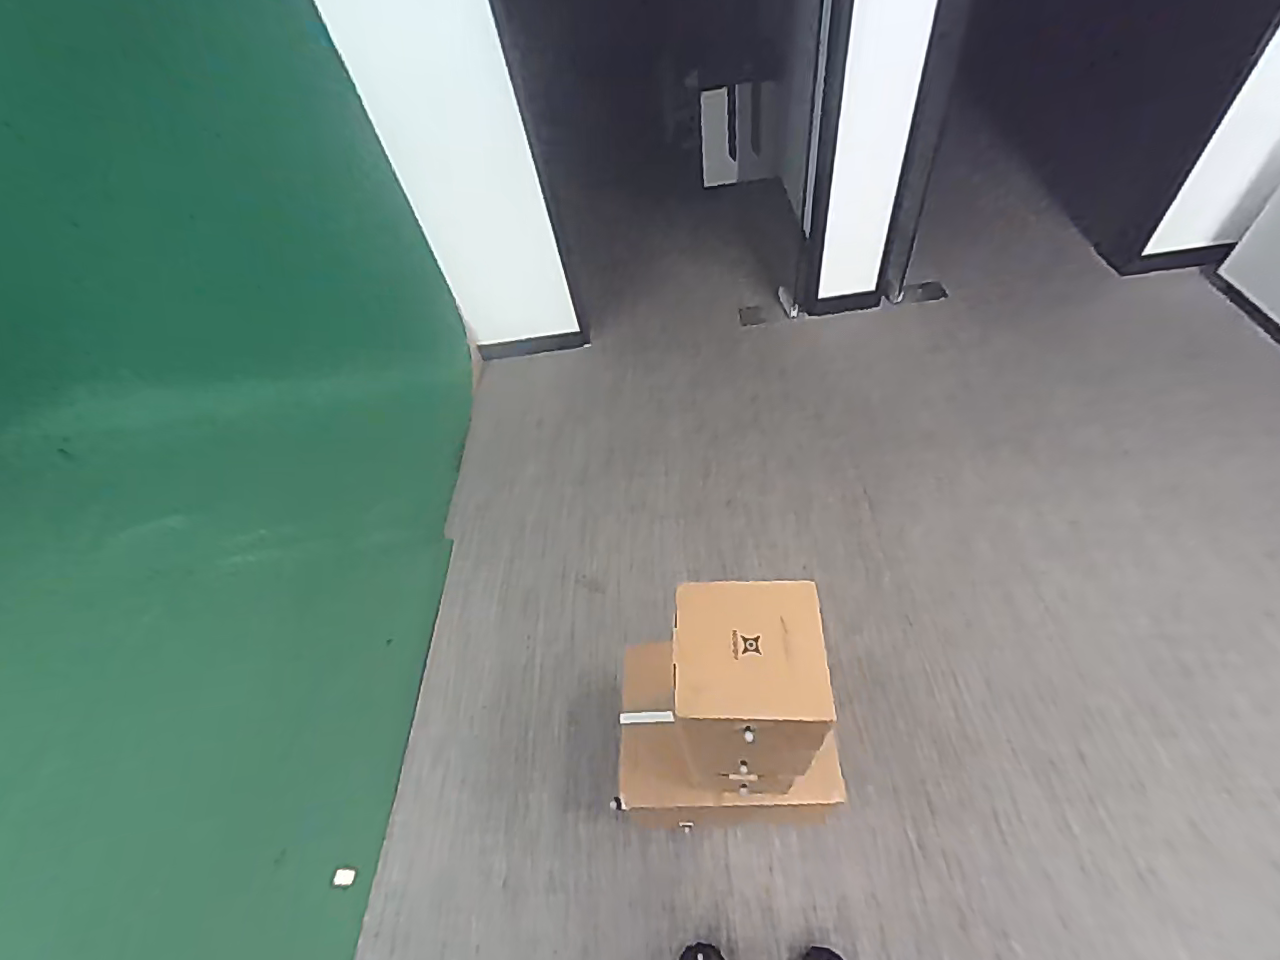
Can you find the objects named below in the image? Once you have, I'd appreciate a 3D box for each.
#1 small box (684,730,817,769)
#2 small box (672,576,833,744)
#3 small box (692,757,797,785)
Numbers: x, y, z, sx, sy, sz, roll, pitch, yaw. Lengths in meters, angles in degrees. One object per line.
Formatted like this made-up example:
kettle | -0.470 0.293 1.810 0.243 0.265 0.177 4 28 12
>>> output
small box | 0.163 0.335 0.825 0.179 0.176 0.168 -4 52 10
small box | 0.137 0.237 0.699 0.179 0.176 0.168 -3 54 8
small box | 0.182 0.431 0.957 0.168 0.176 0.179 -3 53 9
